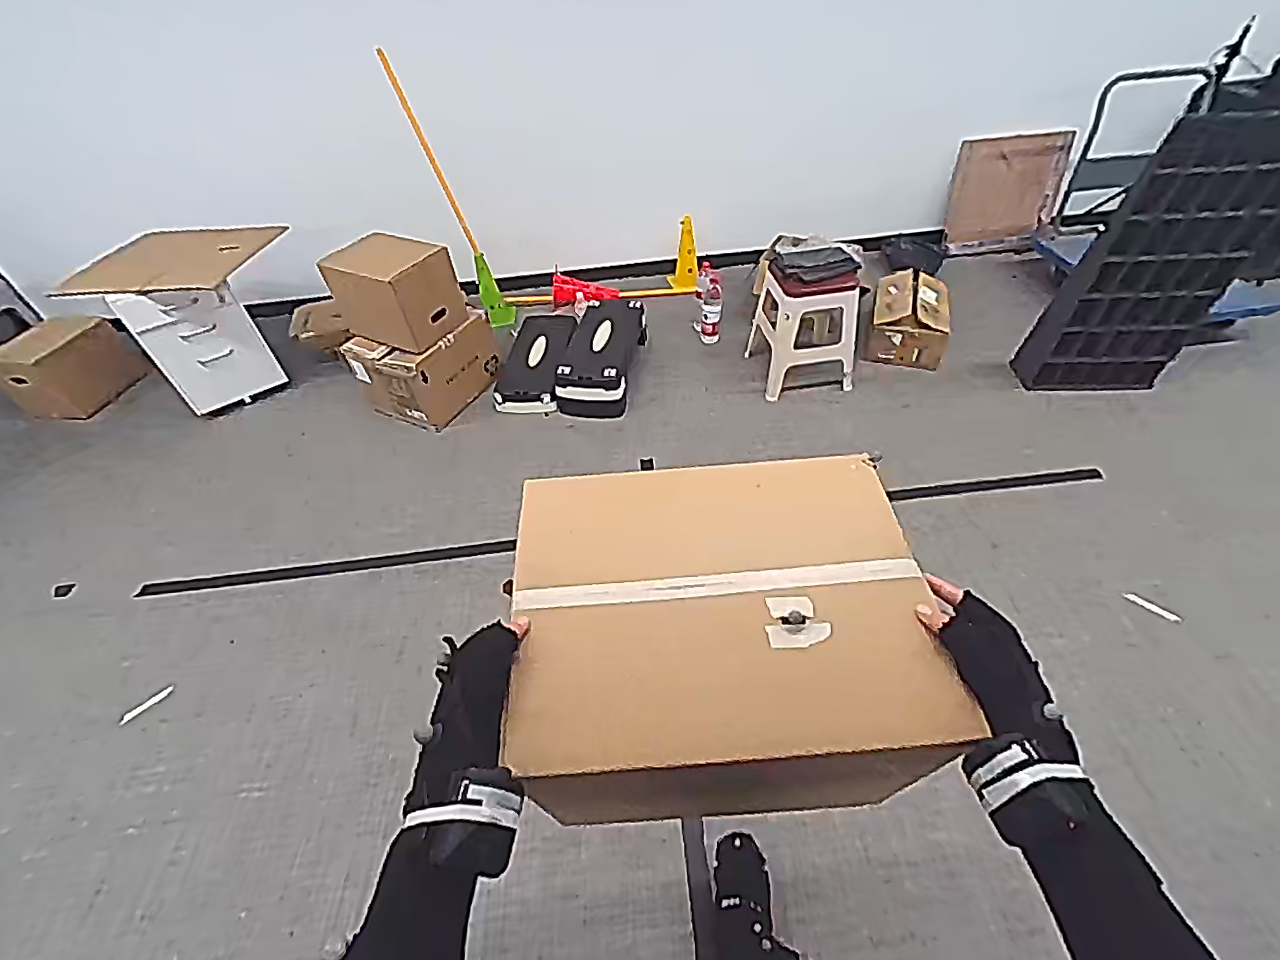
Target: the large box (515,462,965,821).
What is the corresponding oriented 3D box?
[{"bbox_3d":[0.081,0.206,0.672,0.408,0.320,0.320,-5,52,-1],"label":"large box"}]
